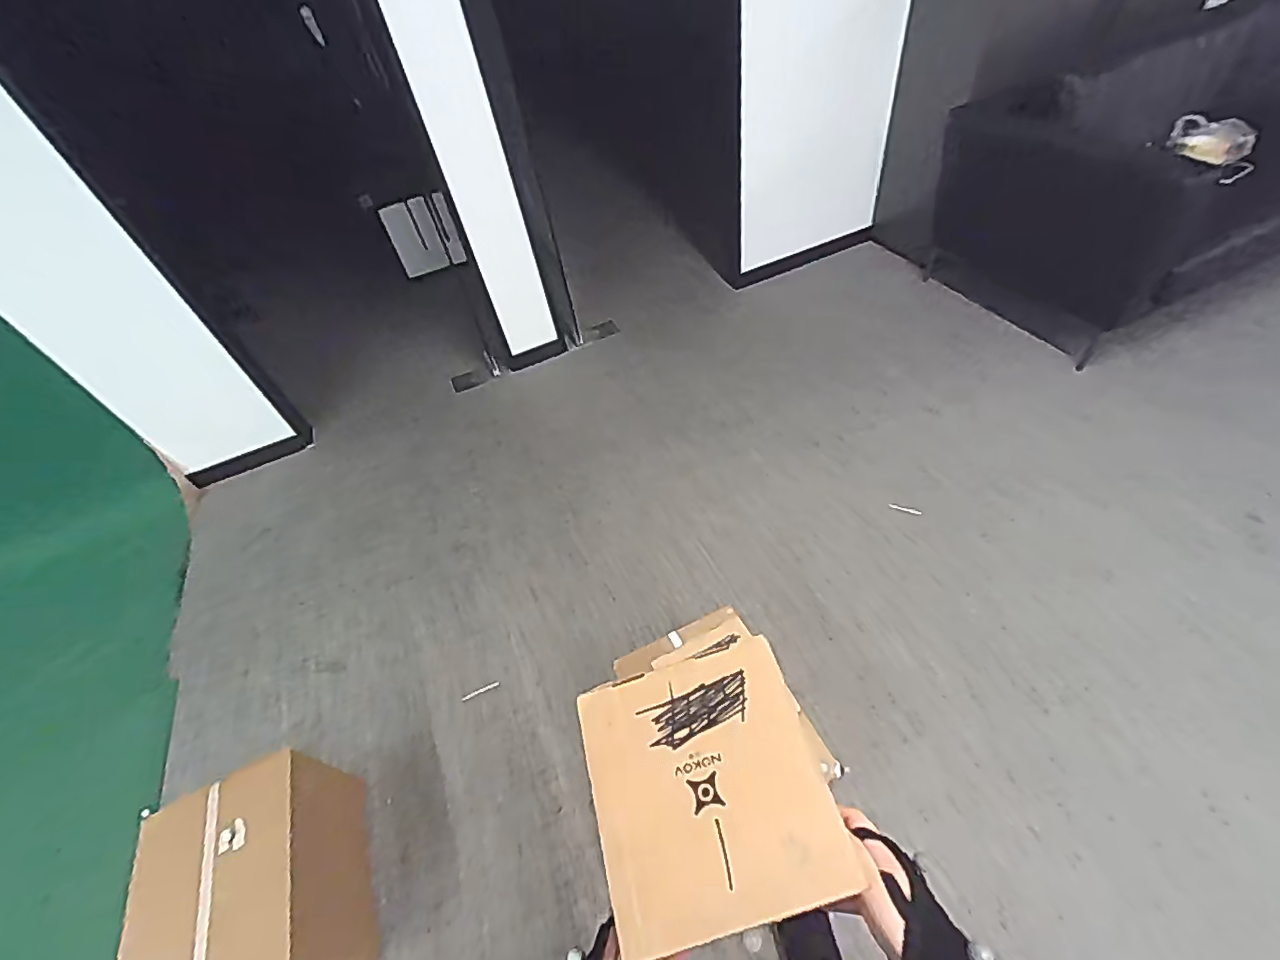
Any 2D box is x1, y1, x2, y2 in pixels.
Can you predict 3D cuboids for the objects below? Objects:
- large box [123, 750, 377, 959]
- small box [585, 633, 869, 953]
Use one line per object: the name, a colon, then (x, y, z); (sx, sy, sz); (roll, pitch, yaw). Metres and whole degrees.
large box: (-0.801, 0.877, 1.149); (0.320, 0.320, 0.408); (-24, 48, -10)
small box: (0.065, 0.262, 0.460); (0.168, 0.176, 0.179); (-19, 52, 0)
